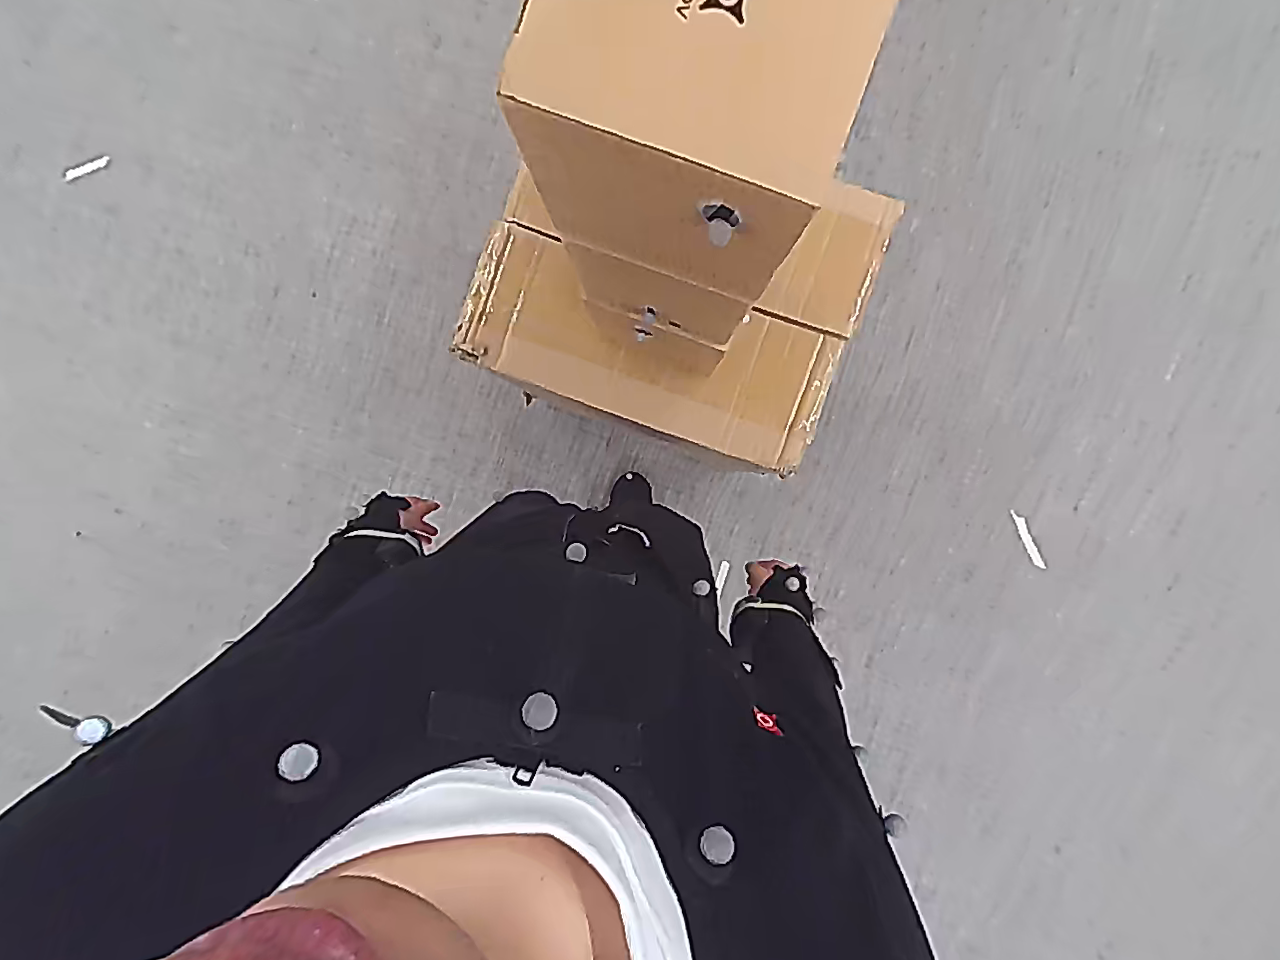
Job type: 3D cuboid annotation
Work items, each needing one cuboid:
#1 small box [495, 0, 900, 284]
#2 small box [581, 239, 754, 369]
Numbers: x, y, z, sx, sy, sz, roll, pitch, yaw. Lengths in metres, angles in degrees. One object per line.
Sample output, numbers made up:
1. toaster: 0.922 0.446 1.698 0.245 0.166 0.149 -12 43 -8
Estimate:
1. small box: 0.038 -0.245 0.342 0.179 0.176 0.168 20 93 1
2. small box: 0.045 -0.250 0.672 0.179 0.176 0.168 20 93 1
